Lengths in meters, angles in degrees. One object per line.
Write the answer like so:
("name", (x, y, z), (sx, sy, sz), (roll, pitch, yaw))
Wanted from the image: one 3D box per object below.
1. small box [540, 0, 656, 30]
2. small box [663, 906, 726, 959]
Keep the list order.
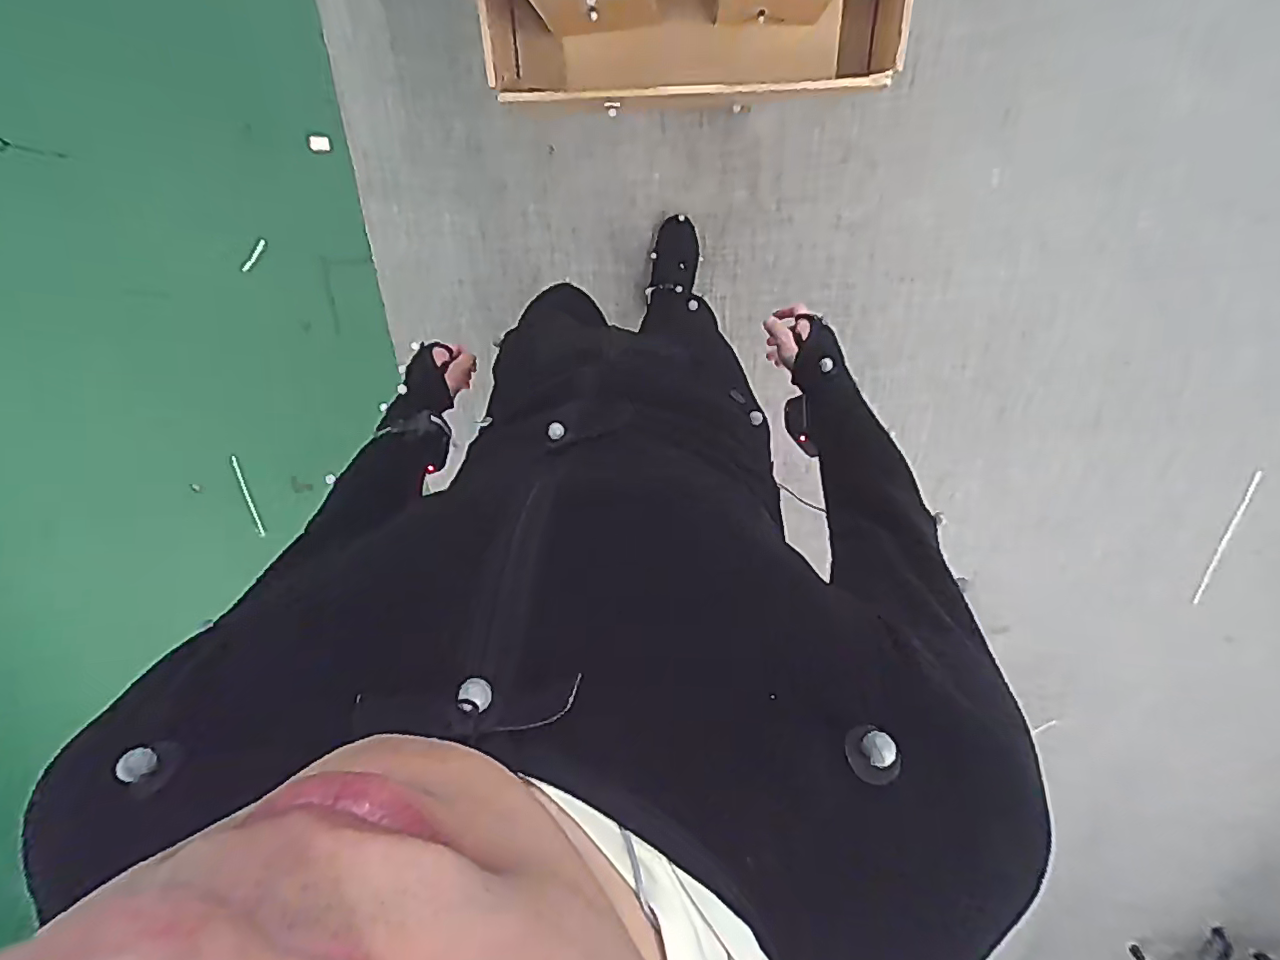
("small box", (-0.067, -0.777, 0.779), (0.179, 0.176, 0.168), (-1, 117, 3))
("small box", (0.146, 1.285, 1.455), (0.168, 0.176, 0.179), (-2, 117, 6))
